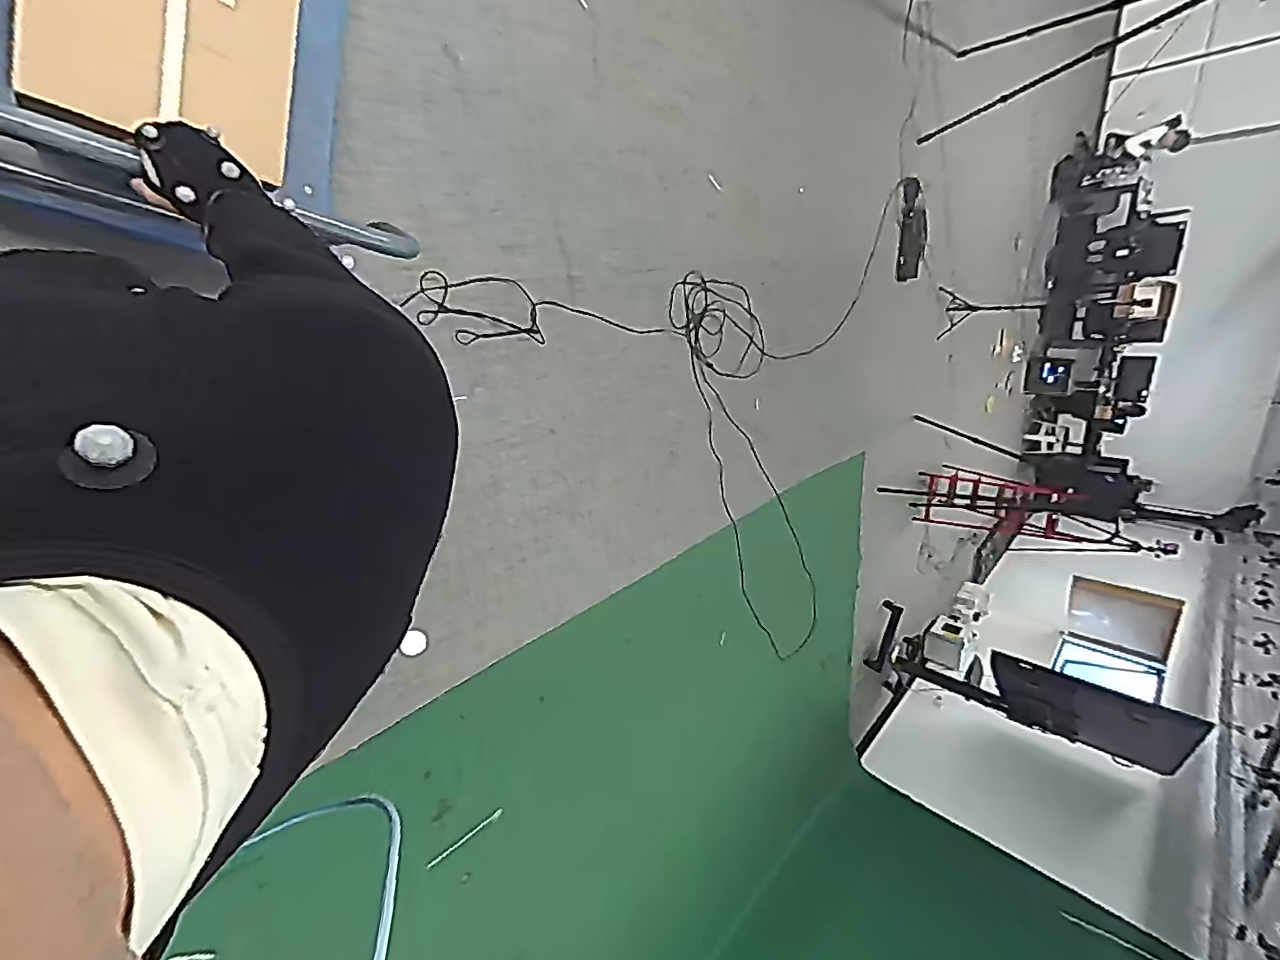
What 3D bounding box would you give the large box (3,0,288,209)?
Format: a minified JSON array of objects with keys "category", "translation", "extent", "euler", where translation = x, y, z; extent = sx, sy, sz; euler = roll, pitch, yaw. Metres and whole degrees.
[{"category":"large box","translation":[-0.821,-0.742,0.919],"extent":[0.320,0.320,0.408],"euler":[3,98,-46]}]
